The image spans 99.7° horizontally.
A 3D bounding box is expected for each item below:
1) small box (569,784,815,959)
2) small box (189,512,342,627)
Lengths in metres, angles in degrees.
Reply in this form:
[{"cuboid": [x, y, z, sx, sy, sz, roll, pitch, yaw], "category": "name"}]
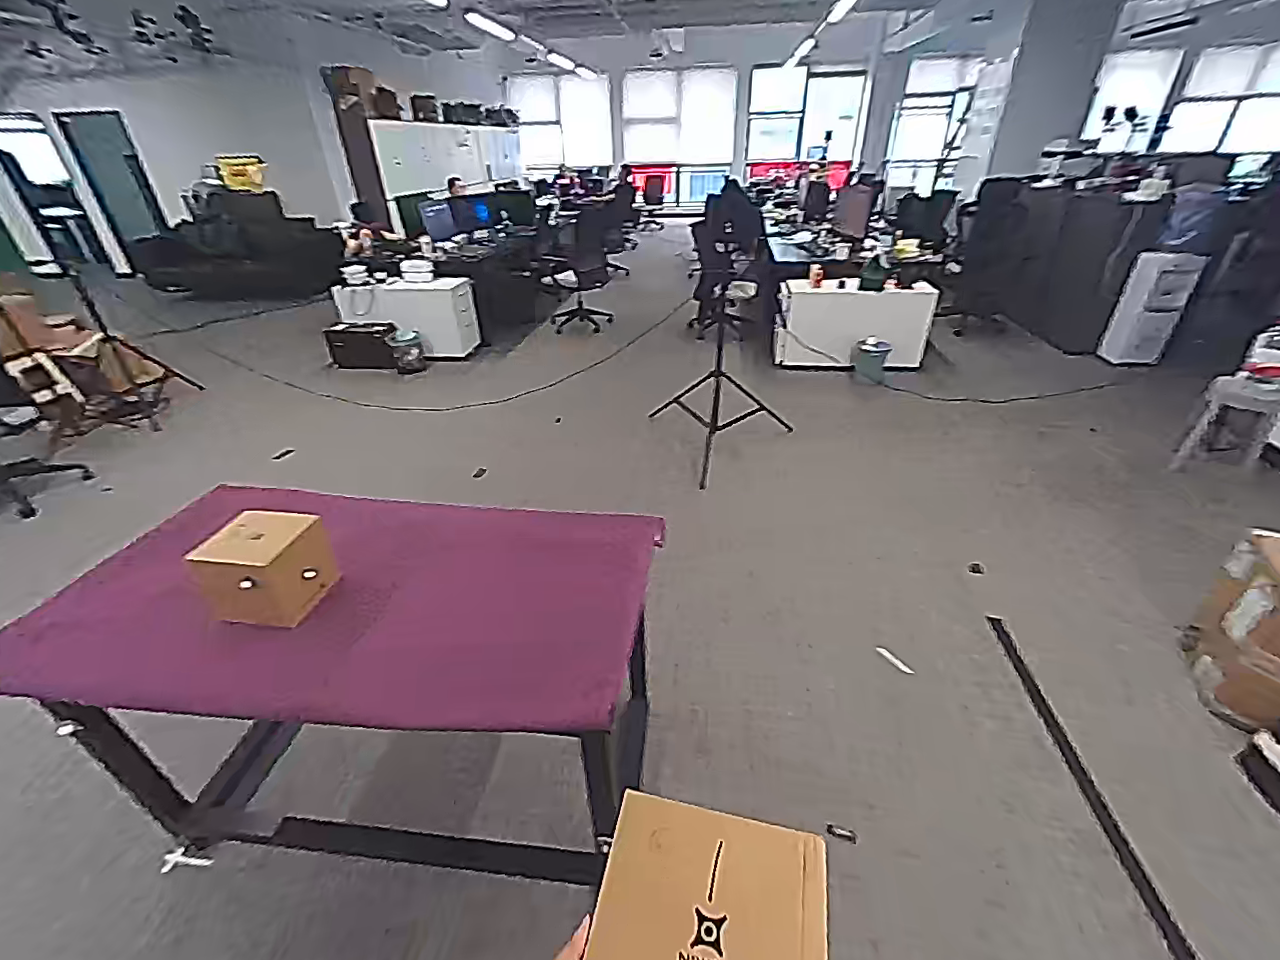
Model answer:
[{"cuboid": [0.044, 0.383, 0.429, 0.168, 0.176, 0.179, 6, 40, 13], "category": "small box"}, {"cuboid": [-0.768, 0.188, 1.133, 0.179, 0.176, 0.168, 3, 32, 8], "category": "small box"}]
